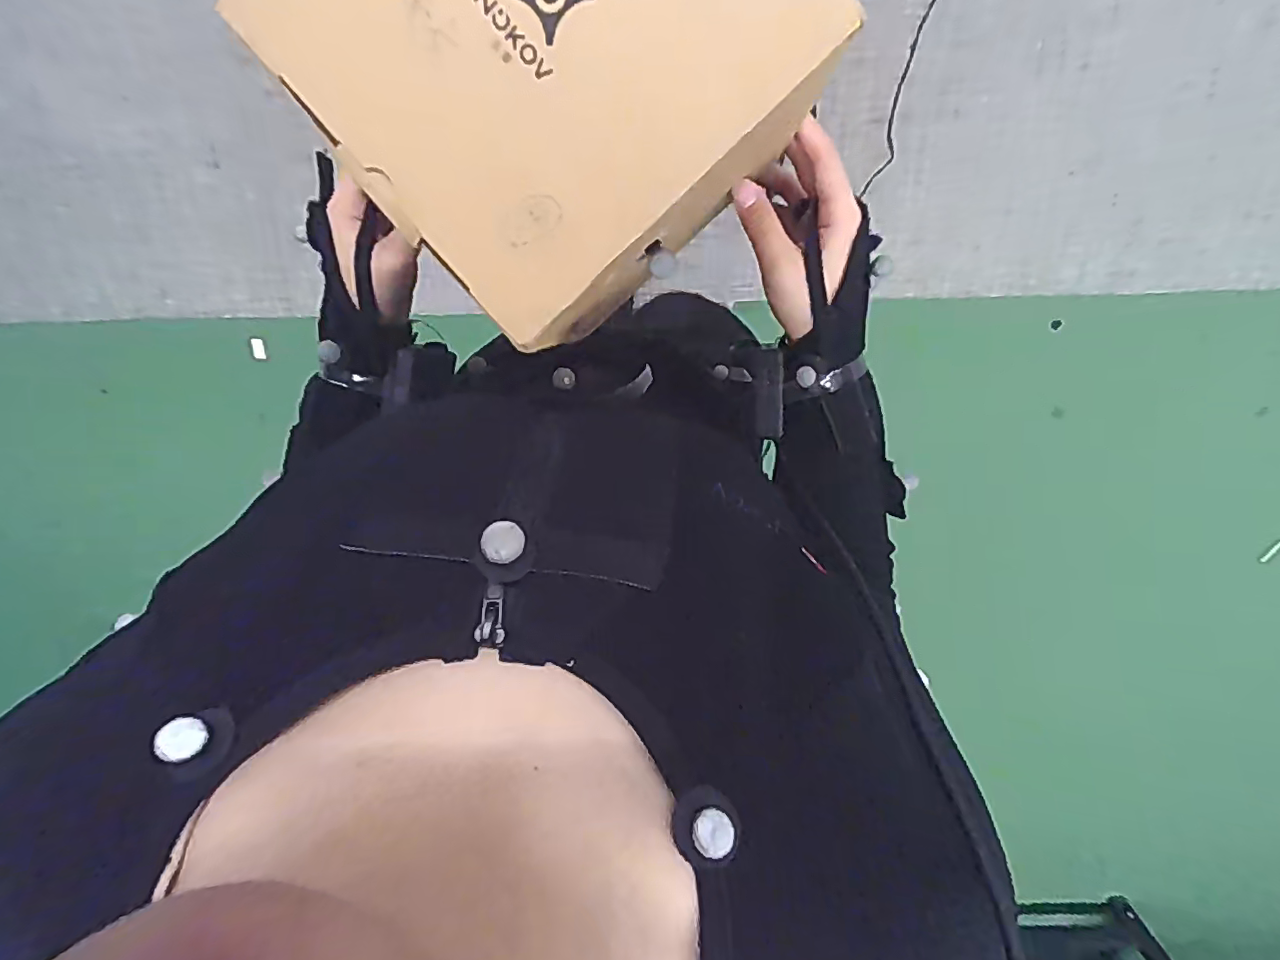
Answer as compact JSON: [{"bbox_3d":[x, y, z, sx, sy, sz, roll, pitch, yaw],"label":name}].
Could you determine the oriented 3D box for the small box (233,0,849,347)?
[{"bbox_3d":[-0.033,-0.187,0.275,0.179,0.176,0.168,-39,100,13],"label":"small box"}]
